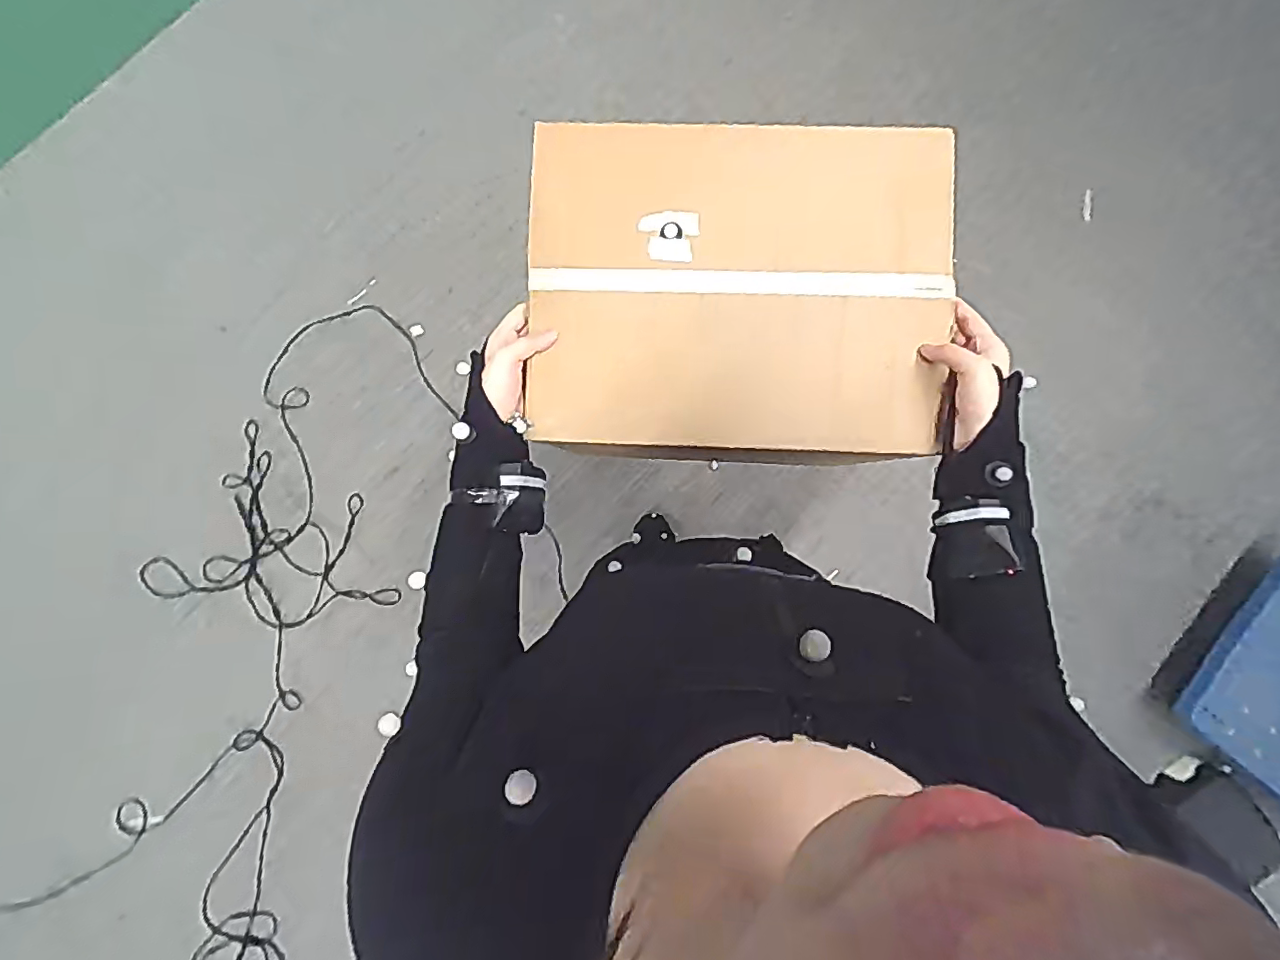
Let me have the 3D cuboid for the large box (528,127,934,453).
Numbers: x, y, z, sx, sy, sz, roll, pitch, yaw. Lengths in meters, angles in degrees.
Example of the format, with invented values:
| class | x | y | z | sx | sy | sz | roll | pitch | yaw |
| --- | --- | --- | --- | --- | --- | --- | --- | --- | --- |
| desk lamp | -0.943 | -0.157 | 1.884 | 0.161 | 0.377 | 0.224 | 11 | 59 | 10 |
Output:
| class | x | y | z | sx | sy | sz | roll | pitch | yaw |
| --- | --- | --- | --- | --- | --- | --- | --- | --- | --- |
| large box | 0.096 | -0.192 | 0.683 | 0.408 | 0.320 | 0.320 | 1 | 90 | 3 |
